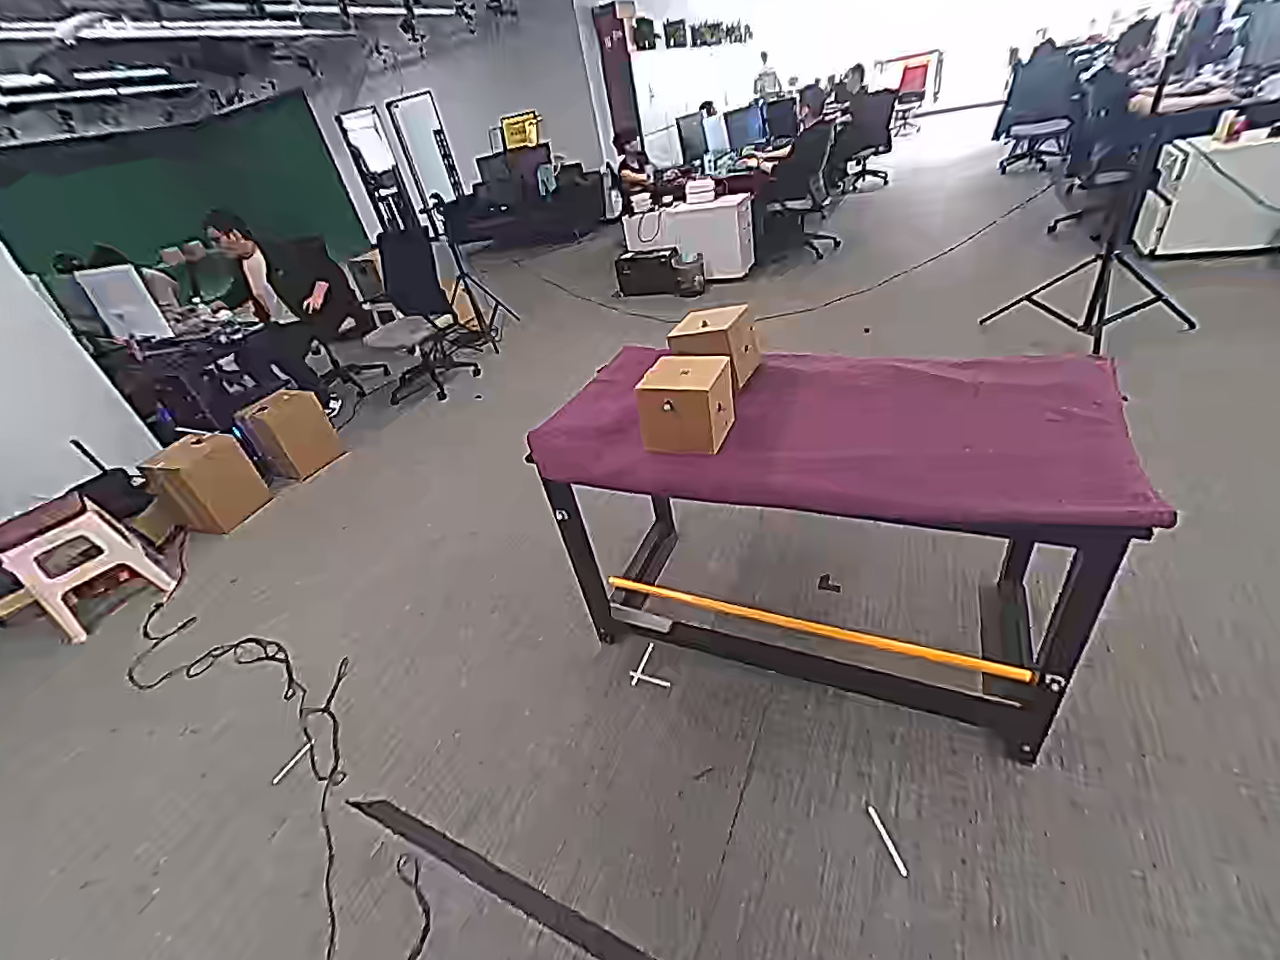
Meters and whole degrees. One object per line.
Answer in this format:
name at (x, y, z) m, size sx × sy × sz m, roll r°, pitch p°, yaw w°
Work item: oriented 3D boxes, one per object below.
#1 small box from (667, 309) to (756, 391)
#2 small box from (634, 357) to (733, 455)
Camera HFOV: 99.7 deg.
small box at (0.199, -0.346, 1.447) m, size 0.179 × 0.168 × 0.176 m, roll 3°, pitch 36°, yaw 33°
small box at (0.110, -0.172, 1.253) m, size 0.179 × 0.176 × 0.168 m, roll 6°, pitch 39°, yaw 25°
